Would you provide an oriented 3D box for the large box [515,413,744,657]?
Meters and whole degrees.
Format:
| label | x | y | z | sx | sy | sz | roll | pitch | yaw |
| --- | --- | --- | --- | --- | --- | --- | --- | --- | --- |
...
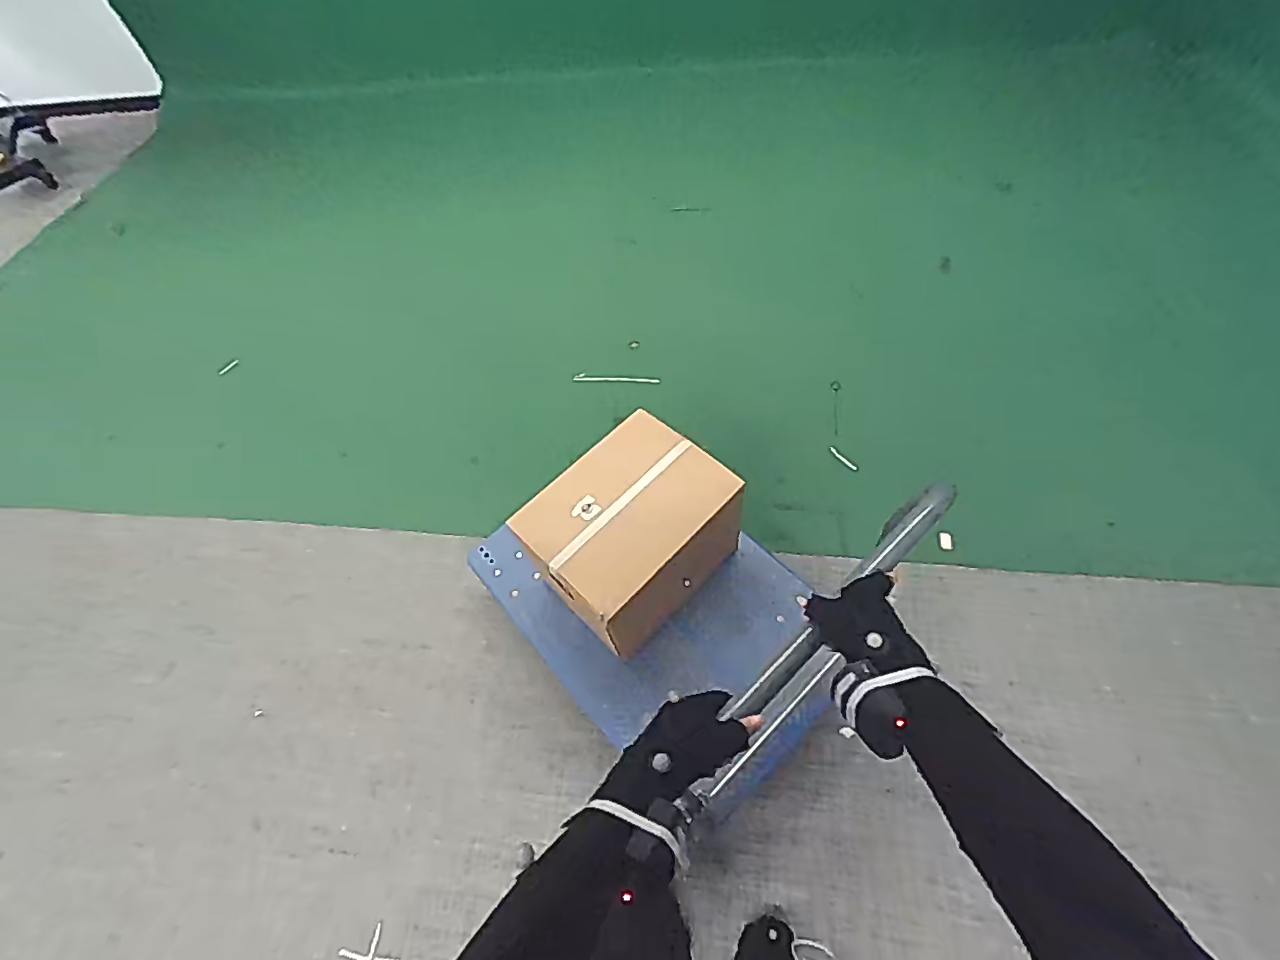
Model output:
| label | x | y | z | sx | sy | sz | roll | pitch | yaw |
| --- | --- | --- | --- | --- | --- | --- | --- | --- | --- |
| large box | -0.007 | 0.130 | 1.256 | 0.320 | 0.320 | 0.408 | 38 | 69 | 26 |
